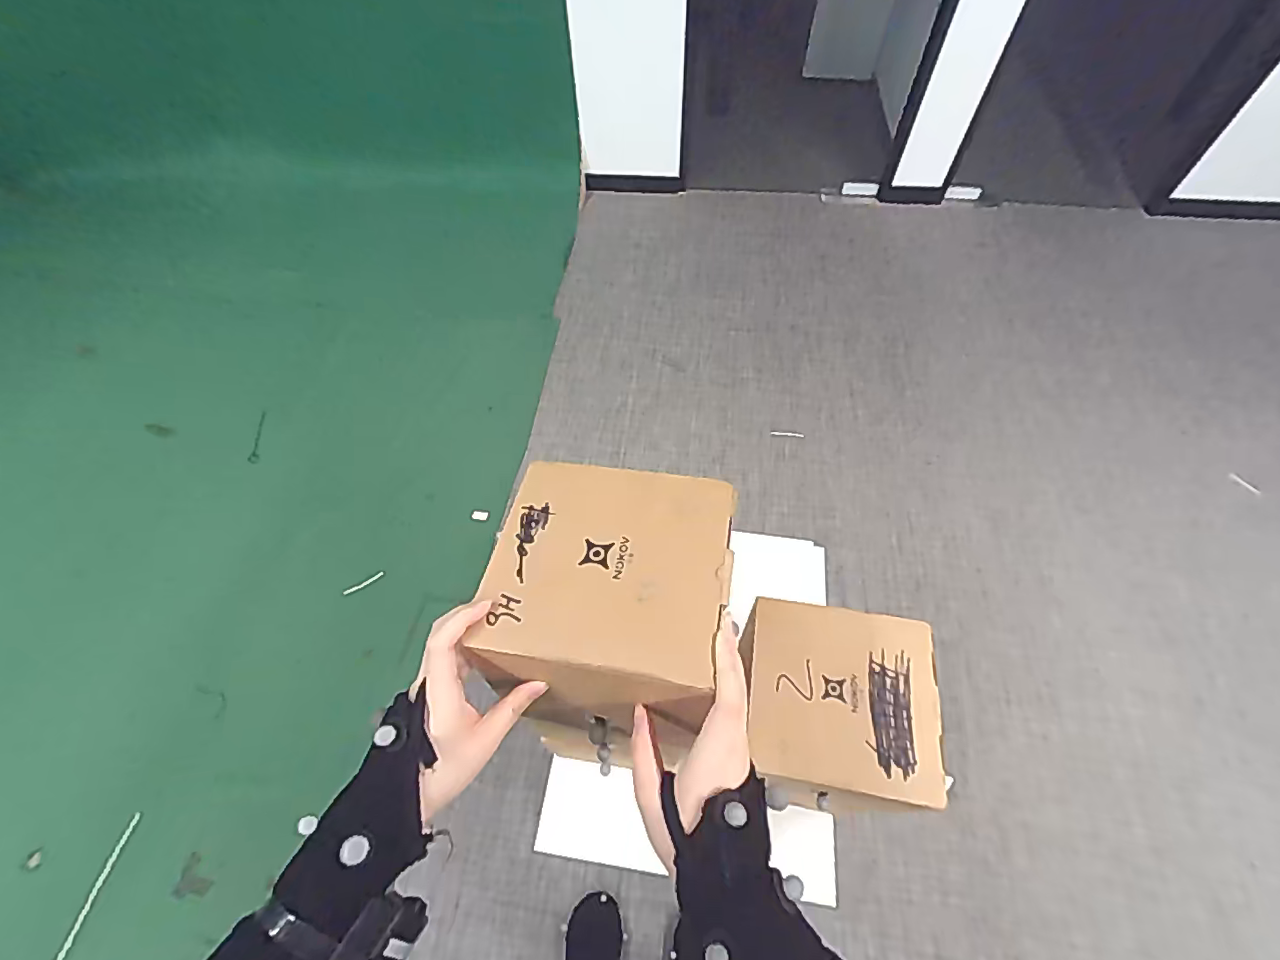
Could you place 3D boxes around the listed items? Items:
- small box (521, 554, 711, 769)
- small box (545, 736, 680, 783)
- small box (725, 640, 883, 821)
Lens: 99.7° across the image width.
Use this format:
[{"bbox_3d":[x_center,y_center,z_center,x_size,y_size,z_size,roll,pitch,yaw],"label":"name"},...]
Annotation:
[{"bbox_3d":[-0.019,0.209,0.611,0.168,0.176,0.179,8,57,6],"label":"small box"},{"bbox_3d":[-0.021,0.302,0.746,0.168,0.176,0.179,7,58,6],"label":"small box"},{"bbox_3d":[0.207,0.335,0.718,0.168,0.176,0.179,7,58,8],"label":"small box"}]
